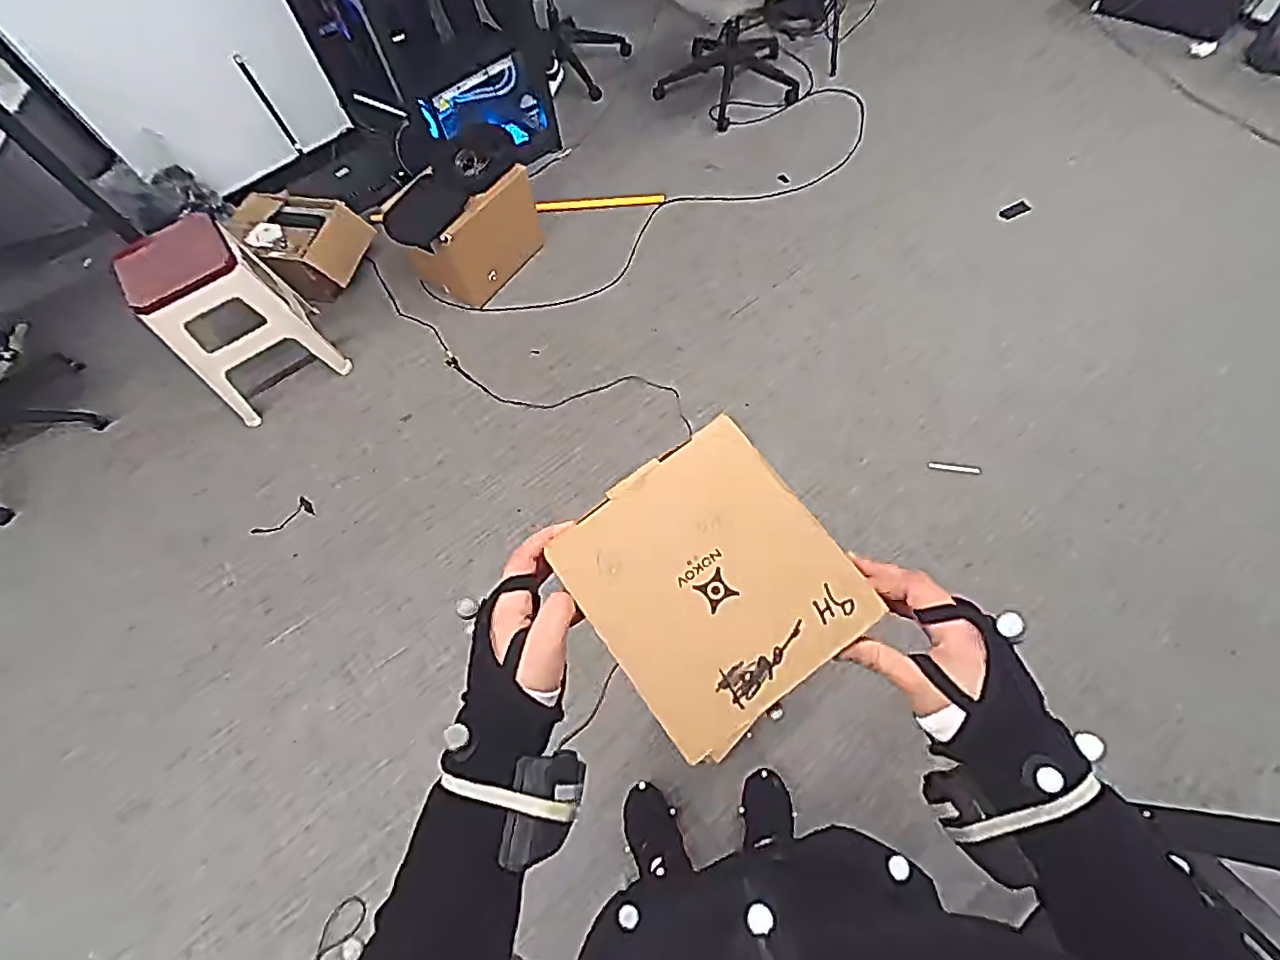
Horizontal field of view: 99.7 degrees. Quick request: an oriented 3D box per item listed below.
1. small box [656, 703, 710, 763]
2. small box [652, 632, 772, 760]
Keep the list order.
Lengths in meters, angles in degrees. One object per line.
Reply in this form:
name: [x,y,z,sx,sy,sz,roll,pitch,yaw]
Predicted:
small box: [0.153,0.524,1.255,0.179,0.176,0.168,-40,67,-13]
small box: [0.145,0.447,1.112,0.168,0.176,0.179,41,72,20]
